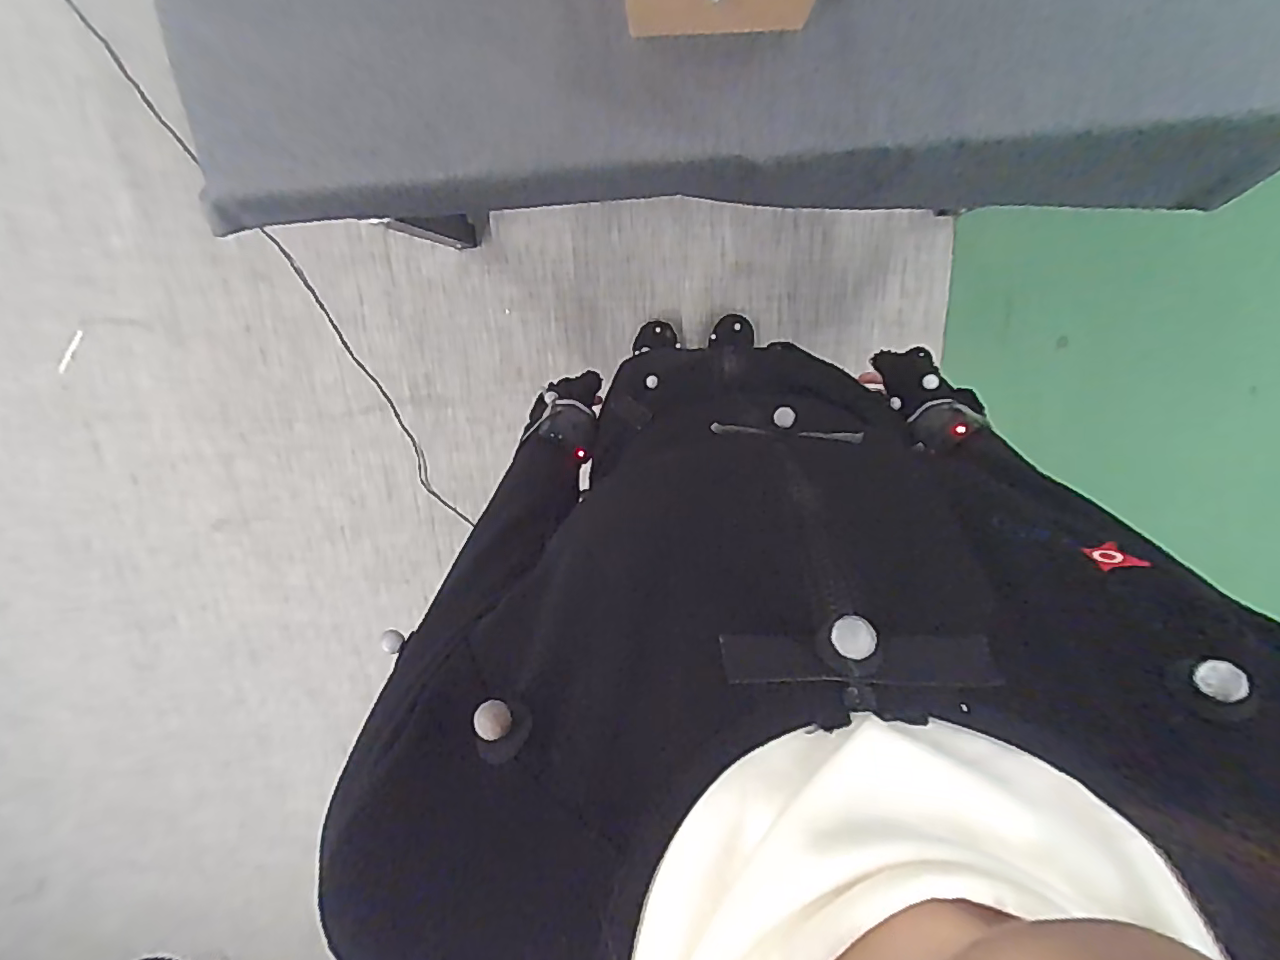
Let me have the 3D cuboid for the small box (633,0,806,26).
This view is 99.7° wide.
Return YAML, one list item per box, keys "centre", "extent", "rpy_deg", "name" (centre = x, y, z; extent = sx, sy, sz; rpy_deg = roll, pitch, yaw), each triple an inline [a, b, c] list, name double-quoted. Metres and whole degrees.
- centre: [0.077, -0.512, 0.444]
  extent: [0.179, 0.176, 0.168]
  rpy_deg: [0, 107, 3]
  name: "small box"
